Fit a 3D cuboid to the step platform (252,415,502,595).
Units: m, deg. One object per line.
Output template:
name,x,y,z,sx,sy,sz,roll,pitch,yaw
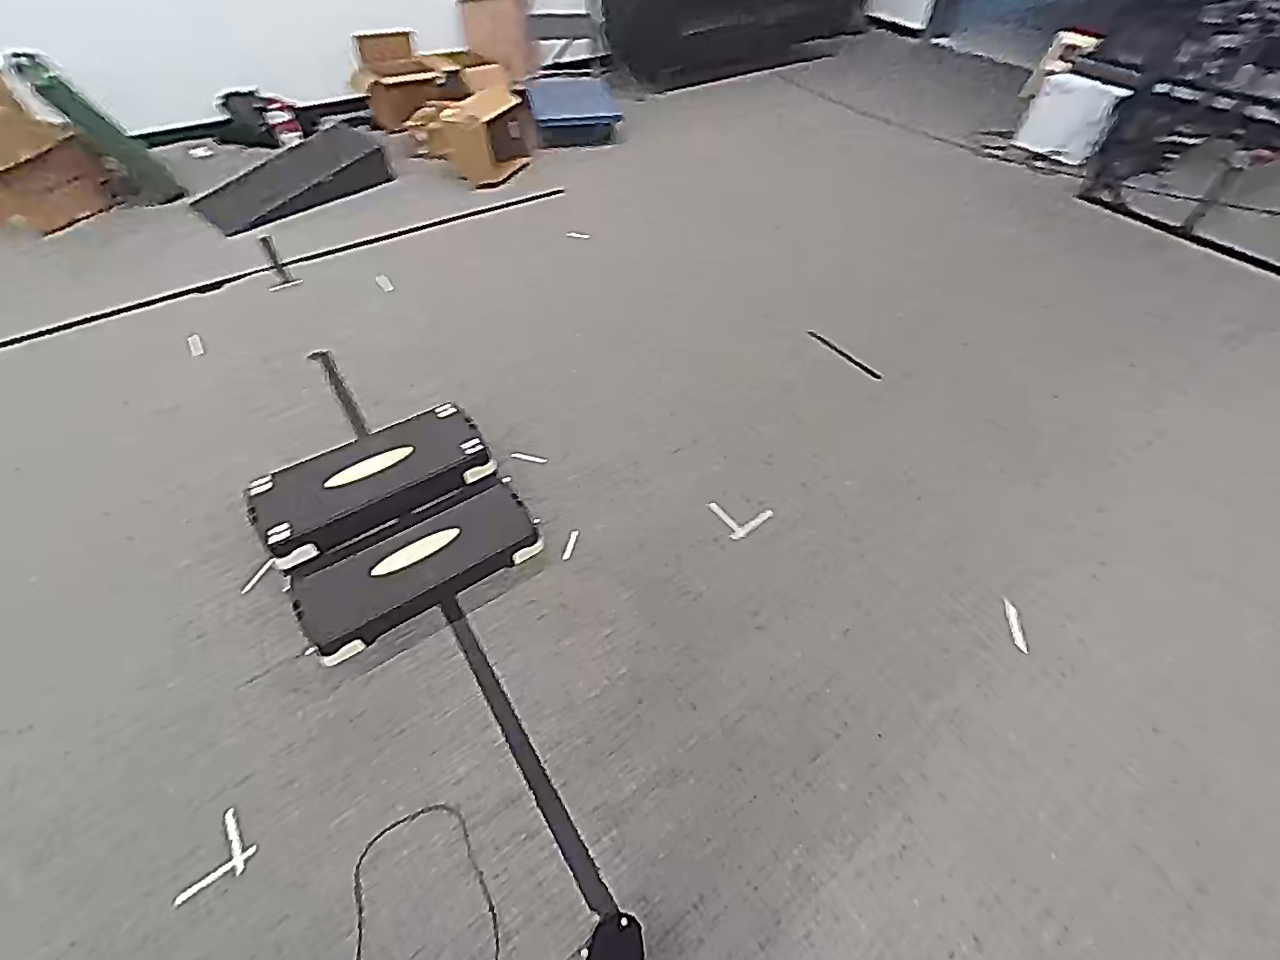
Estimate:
step platform,-0.791,0.055,1.675,0.684,0.204,0.286,-28,57,-24
